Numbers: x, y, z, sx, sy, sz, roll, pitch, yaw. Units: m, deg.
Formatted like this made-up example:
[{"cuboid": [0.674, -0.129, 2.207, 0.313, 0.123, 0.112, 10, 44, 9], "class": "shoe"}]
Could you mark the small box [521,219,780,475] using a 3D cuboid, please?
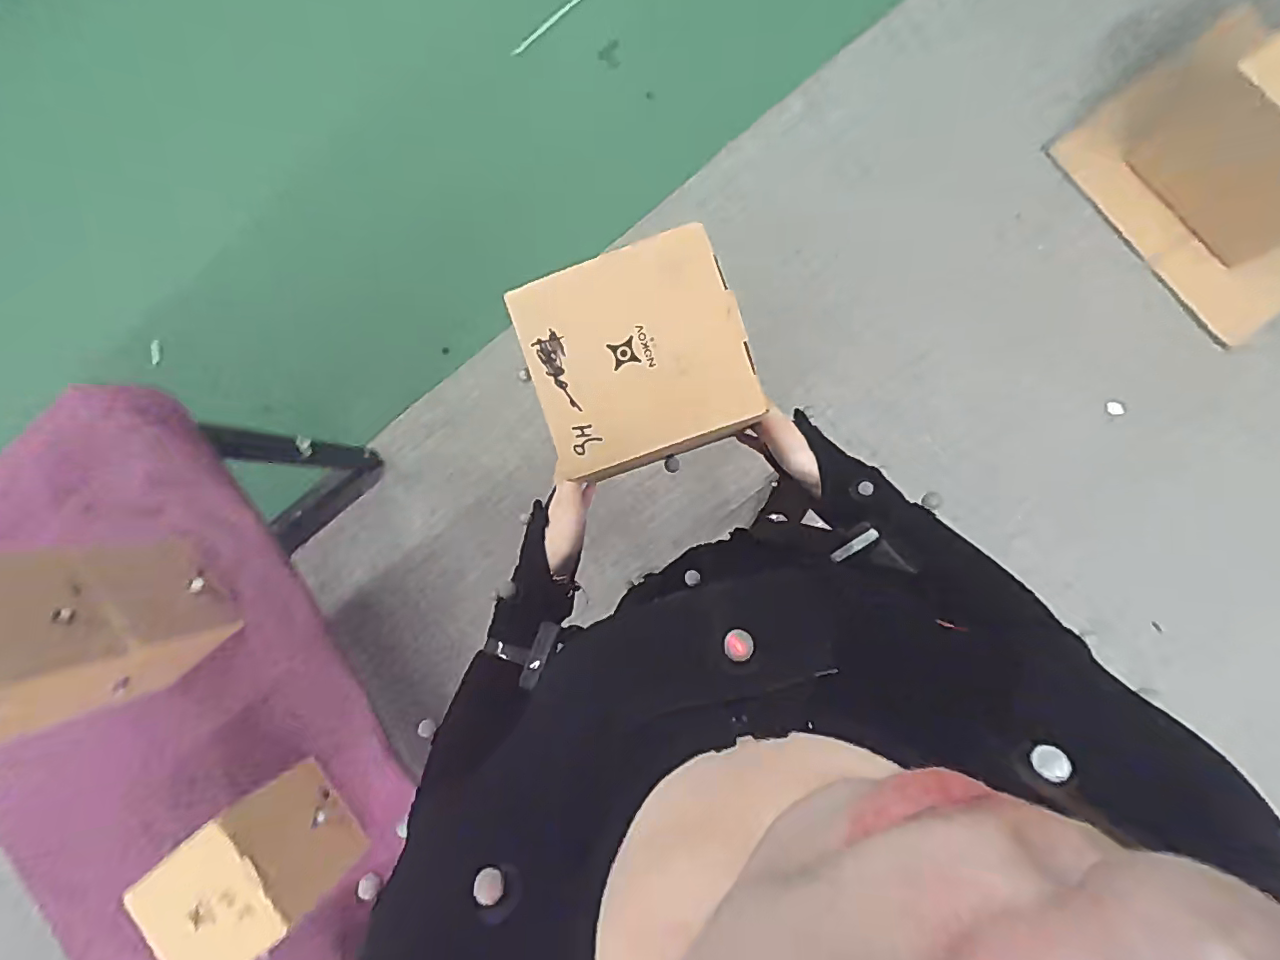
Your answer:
[{"cuboid": [0.009, -0.107, 0.513, 0.179, 0.176, 0.168, -17, 88, 2], "class": "small box"}]

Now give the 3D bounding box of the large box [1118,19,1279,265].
[{"cuboid": [1.475, -0.799, 1.250, 0.320, 0.320, 0.408, -40, 85, 3], "class": "large box"}]

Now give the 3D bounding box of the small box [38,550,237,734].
[{"cuboid": [-0.745, 0.218, 0.779, 0.179, 0.176, 0.168, -38, 84, 3], "class": "small box"}]

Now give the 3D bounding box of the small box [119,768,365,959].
[{"cuboid": [-0.525, 0.543, 0.737, 0.179, 0.176, 0.168, -40, 84, 4], "class": "small box"}]
